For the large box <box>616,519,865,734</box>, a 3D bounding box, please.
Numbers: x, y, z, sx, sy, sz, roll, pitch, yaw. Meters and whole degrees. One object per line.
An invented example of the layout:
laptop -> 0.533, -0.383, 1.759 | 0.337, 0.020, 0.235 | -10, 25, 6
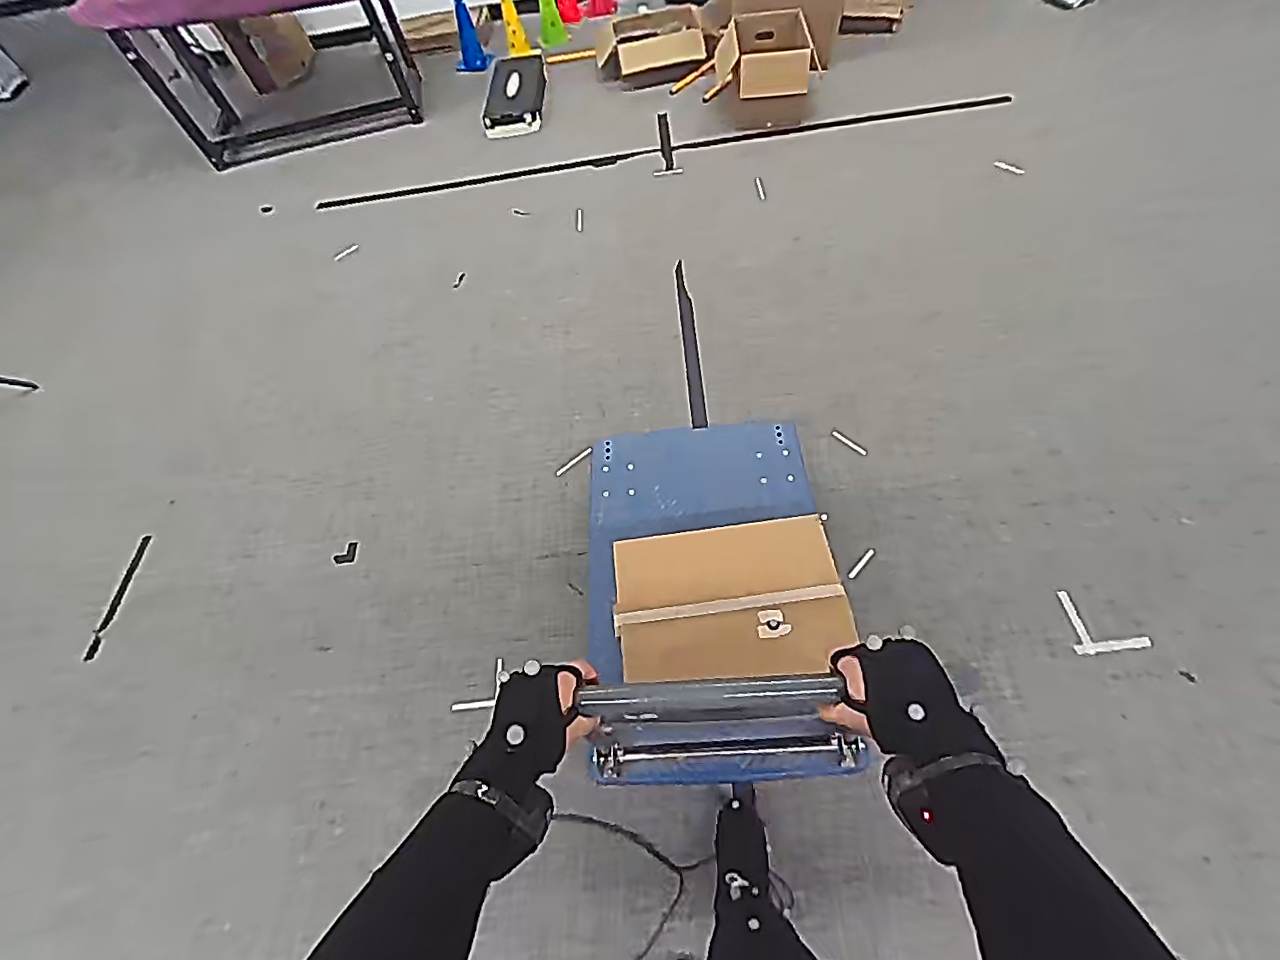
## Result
large box -> 0.178, 0.311, 1.110 | 0.408, 0.320, 0.320 | -8, 59, 1
